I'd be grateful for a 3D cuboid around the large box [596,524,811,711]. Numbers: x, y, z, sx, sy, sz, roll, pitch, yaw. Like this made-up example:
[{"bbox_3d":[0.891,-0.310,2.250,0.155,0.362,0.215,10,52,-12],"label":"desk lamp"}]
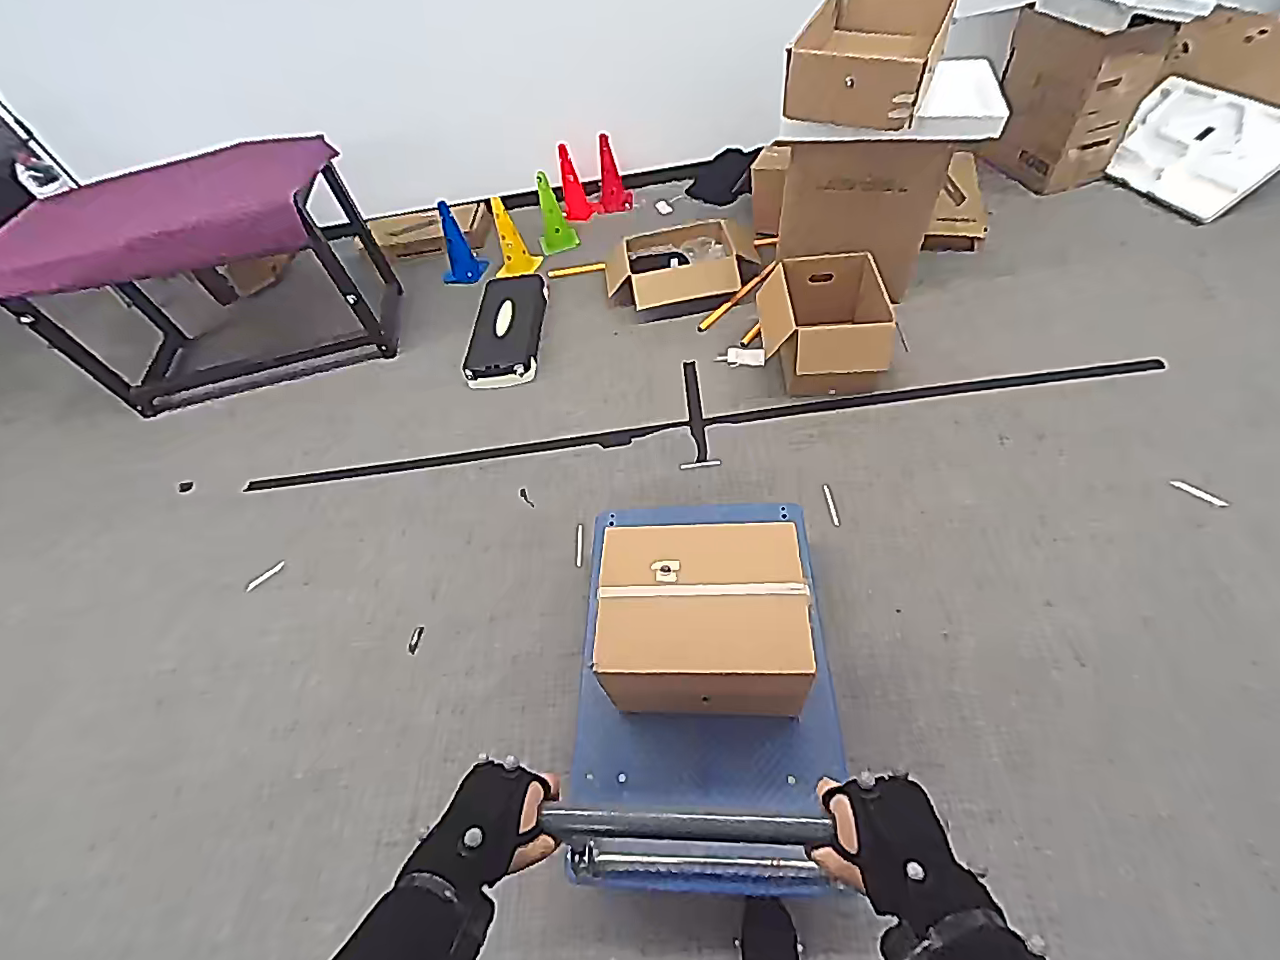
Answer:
[{"bbox_3d":[0.140,0.318,1.202,0.408,0.320,0.320,-4,52,8],"label":"large box"}]
